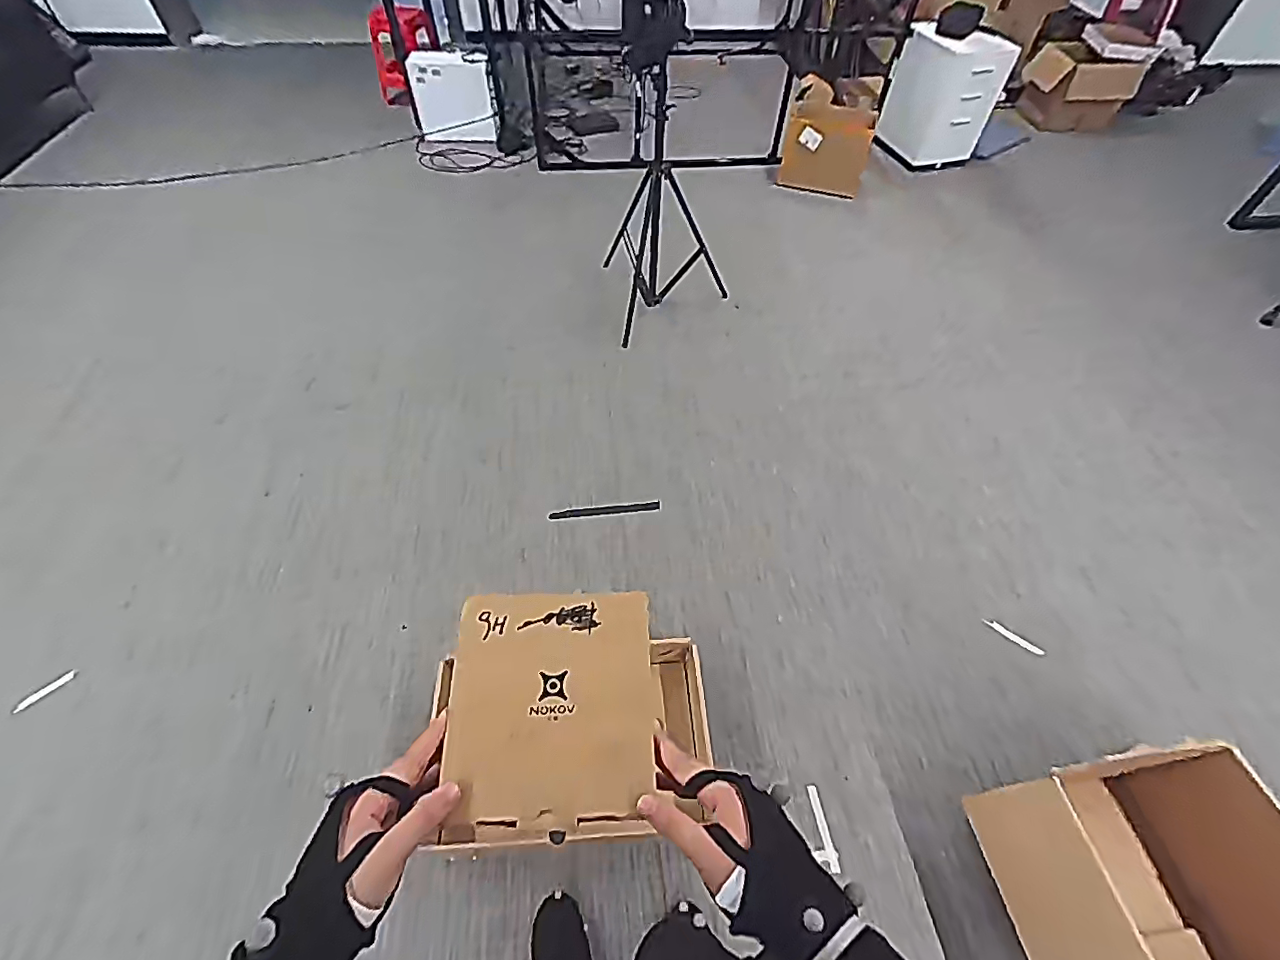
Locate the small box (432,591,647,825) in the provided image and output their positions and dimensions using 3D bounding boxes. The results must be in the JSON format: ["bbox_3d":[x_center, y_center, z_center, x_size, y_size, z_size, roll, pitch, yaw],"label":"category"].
[{"bbox_3d":[-0.078,0.216,0.512,0.168,0.176,0.179,-1,60,-3],"label":"small box"}]
